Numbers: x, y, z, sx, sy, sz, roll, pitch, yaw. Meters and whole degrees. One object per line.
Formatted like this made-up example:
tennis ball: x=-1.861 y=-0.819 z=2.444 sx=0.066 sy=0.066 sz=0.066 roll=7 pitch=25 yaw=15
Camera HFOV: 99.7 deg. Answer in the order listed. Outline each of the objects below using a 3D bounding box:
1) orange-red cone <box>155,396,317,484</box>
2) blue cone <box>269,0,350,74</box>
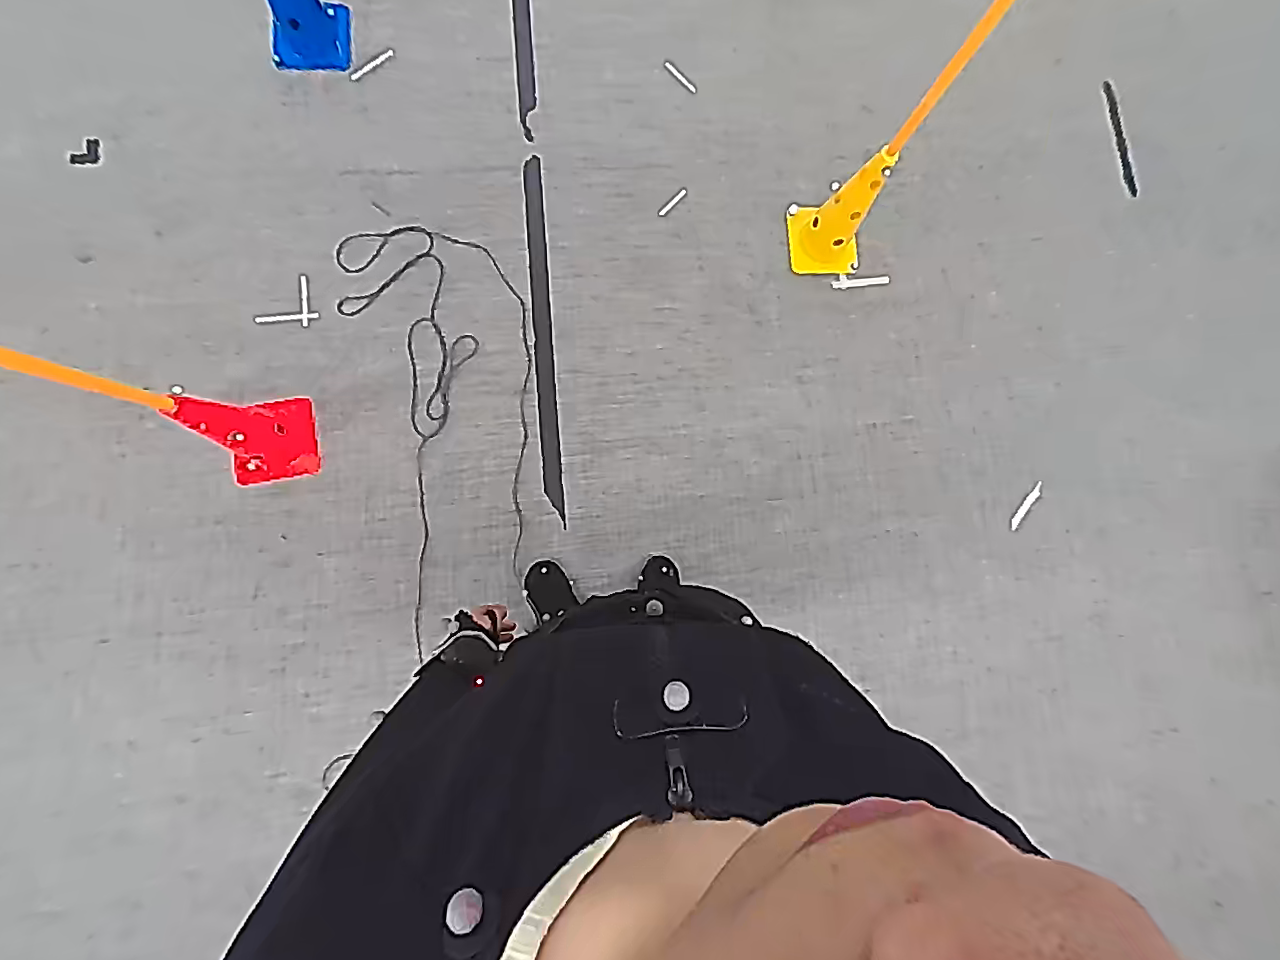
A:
orange-red cone: x=-0.885 y=-0.117 z=1.160 sx=0.199 sy=0.360 sz=0.198 roll=-10 pitch=85 yaw=-8
blue cone: x=-0.876 y=-1.217 z=1.311 sx=0.193 sy=0.380 sz=0.192 roll=-2 pitch=84 yaw=-6
